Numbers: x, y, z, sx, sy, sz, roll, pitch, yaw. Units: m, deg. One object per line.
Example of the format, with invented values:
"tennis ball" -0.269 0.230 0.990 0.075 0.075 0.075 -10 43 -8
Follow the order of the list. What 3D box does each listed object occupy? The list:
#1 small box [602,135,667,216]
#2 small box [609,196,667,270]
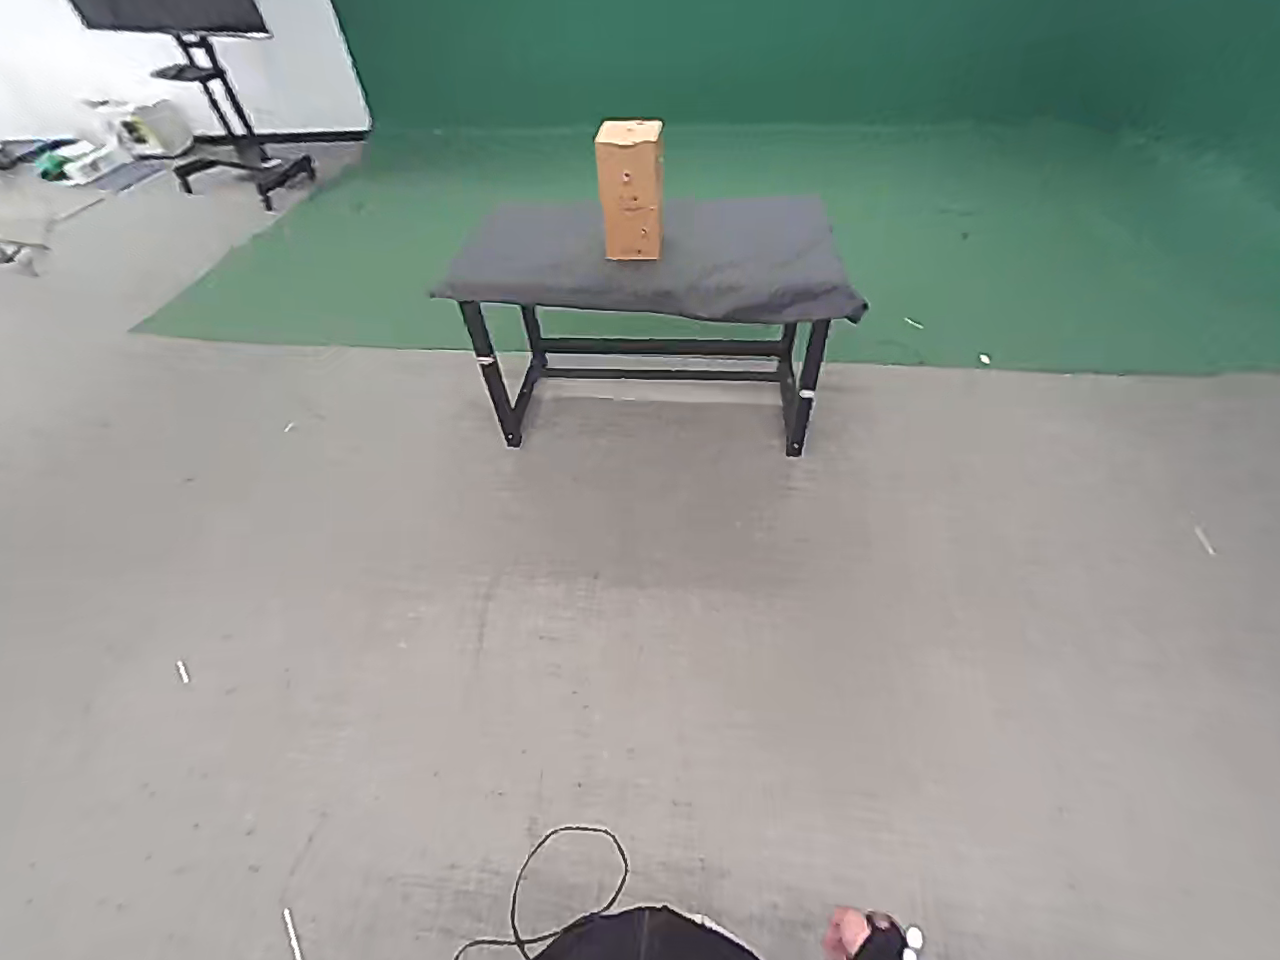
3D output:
"small box" -0.010 -0.898 1.598 0.168 0.176 0.179 5 50 6
"small box" -0.001 -0.785 1.716 0.168 0.176 0.179 3 47 5
